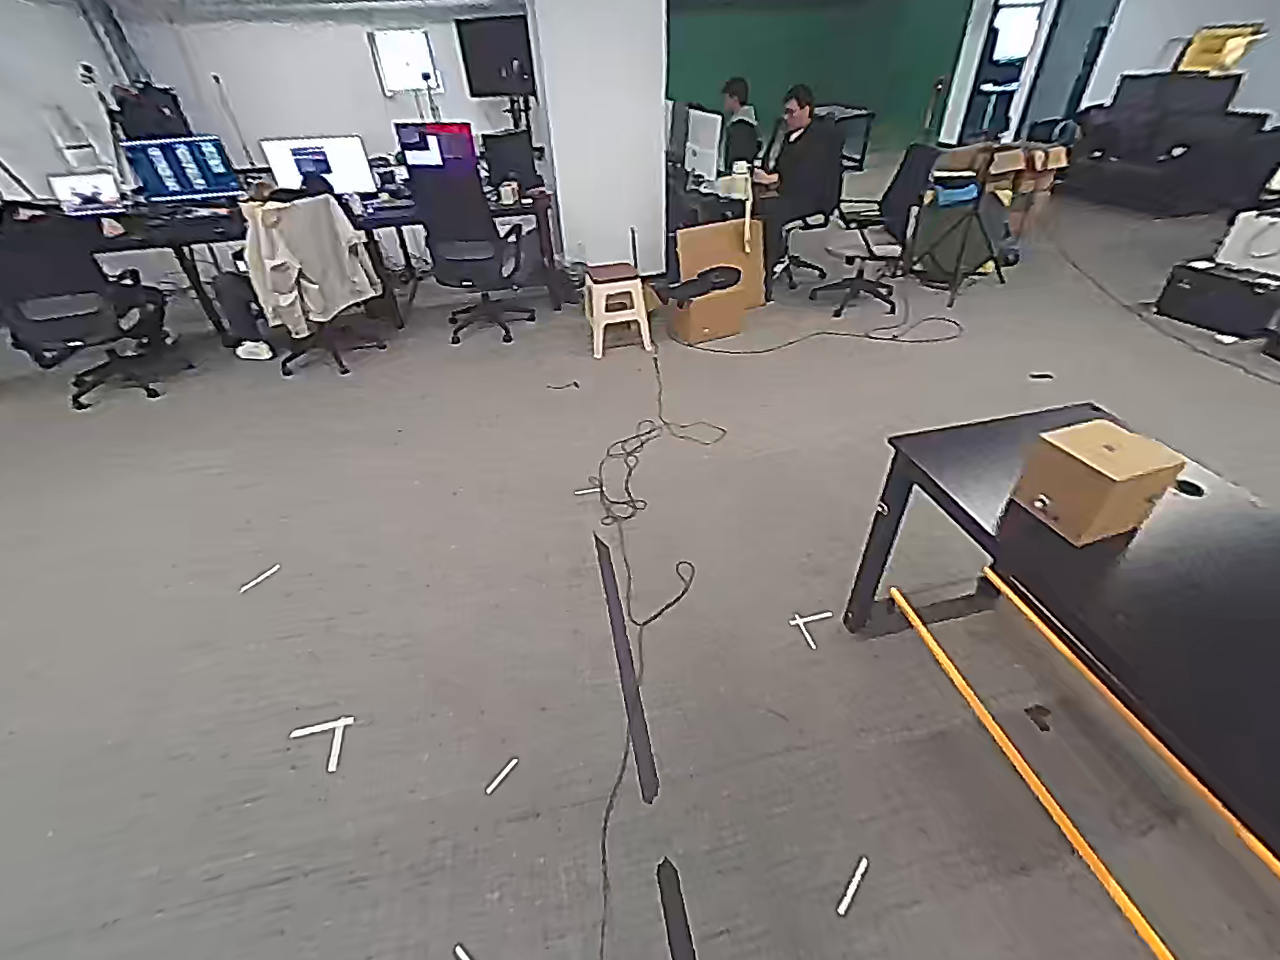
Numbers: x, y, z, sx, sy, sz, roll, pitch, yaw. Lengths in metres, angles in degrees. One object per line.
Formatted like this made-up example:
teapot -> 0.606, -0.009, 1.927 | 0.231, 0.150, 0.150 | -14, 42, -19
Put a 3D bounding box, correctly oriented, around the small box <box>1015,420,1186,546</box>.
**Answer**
small box -> 0.909, 0.006, 1.089 | 0.179, 0.176, 0.168 | -14, 38, -12
